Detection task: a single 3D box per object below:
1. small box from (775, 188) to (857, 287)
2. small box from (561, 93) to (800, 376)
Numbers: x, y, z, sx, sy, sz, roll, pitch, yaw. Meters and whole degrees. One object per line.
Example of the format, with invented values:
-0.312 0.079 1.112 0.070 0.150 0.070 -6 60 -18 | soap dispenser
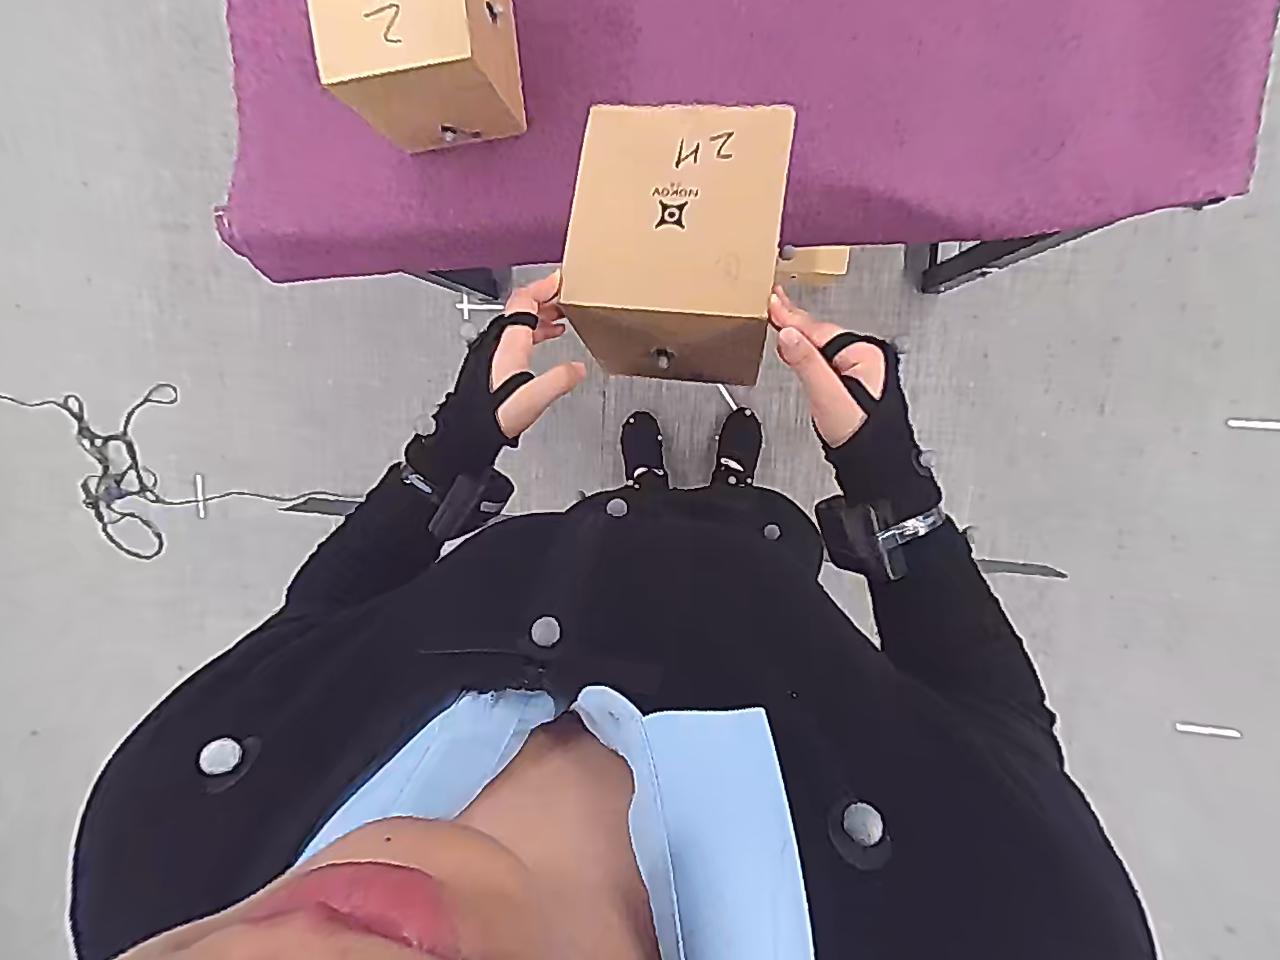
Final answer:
0.392 -0.561 1.271 0.168 0.176 0.179 7 100 6 | small box
0.041 -0.205 0.491 0.168 0.176 0.179 7 83 9 | small box
